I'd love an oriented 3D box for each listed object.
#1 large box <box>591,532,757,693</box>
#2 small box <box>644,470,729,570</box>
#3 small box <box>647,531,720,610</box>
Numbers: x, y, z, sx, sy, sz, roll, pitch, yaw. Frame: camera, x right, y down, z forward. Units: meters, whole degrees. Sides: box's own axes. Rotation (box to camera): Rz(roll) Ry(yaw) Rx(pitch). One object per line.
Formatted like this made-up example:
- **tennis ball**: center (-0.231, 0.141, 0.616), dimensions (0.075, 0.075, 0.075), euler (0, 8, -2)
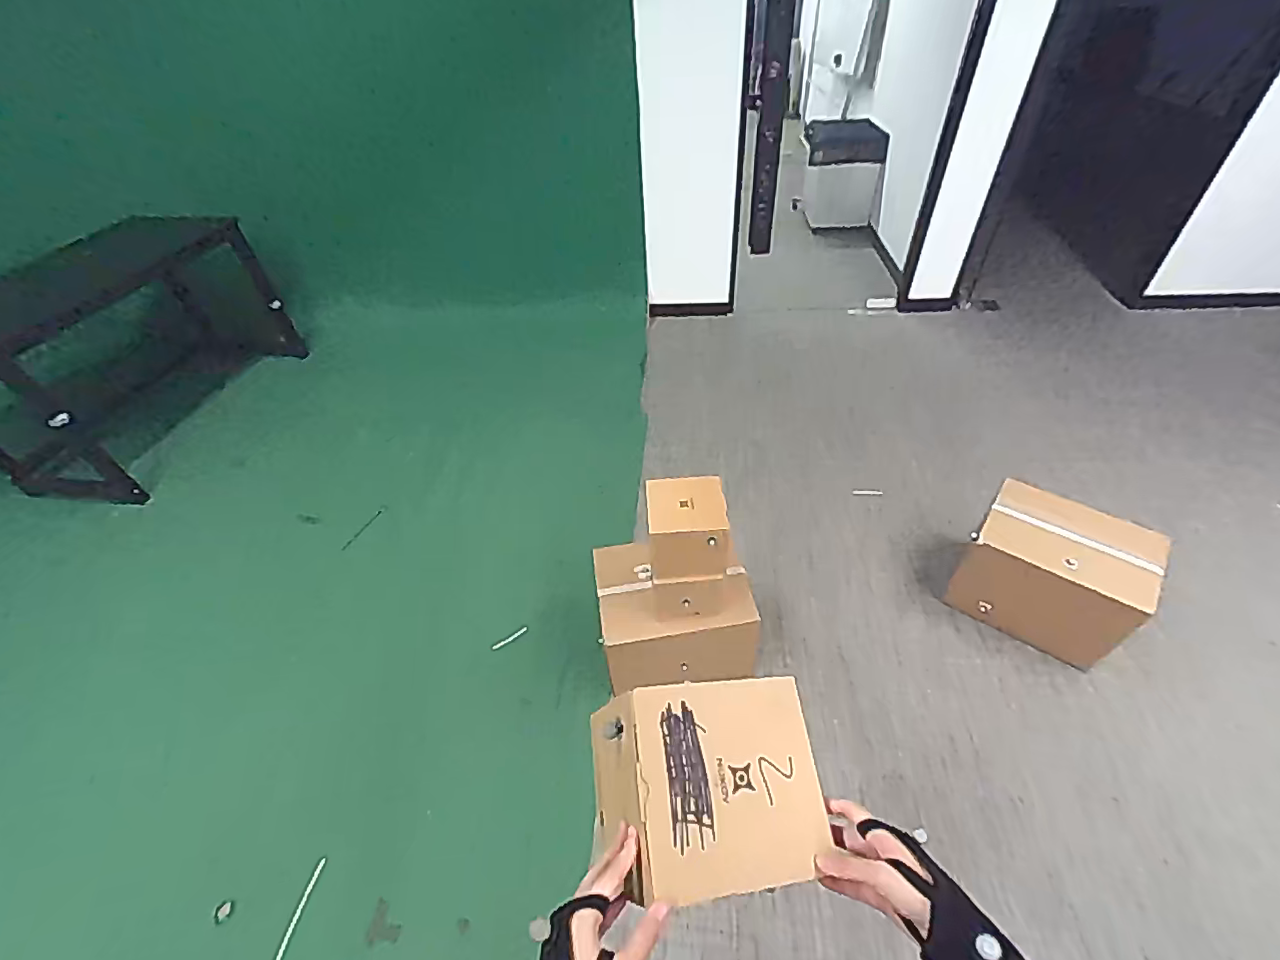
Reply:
- **large box**: center (0.089, 0.373, 1.556), dimensions (0.408, 0.320, 0.320), euler (-9, 44, -4)
- **small box**: center (0.103, 0.095, 1.254), dimensions (0.179, 0.176, 0.168), euler (-3, 45, 0)
- **small box**: center (0.107, 0.216, 1.363), dimensions (0.168, 0.176, 0.179), euler (-4, 45, -1)
